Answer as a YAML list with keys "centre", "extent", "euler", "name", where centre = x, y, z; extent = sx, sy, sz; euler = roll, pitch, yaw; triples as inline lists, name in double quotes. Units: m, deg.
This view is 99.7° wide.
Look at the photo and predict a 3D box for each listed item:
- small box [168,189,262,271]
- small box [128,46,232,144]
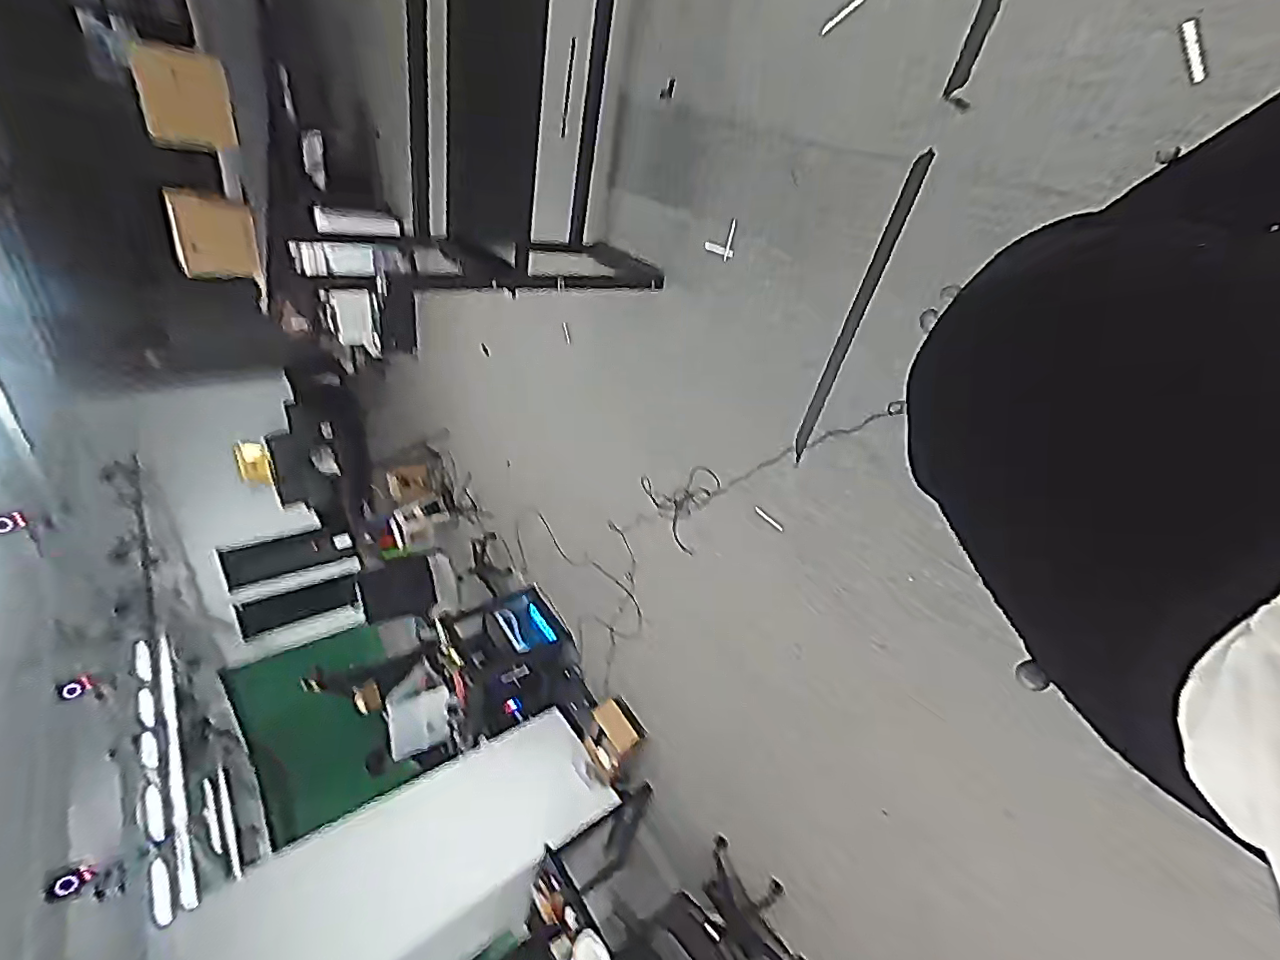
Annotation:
- centre: [-1.133, -0.666, 1.449]
  extent: [0.179, 0.176, 0.168]
  euler: [40, 132, 38]
  name: "small box"
- centre: [-1.218, -1.018, 1.437]
  extent: [0.168, 0.176, 0.179]
  euler: [43, 134, 35]
  name: "small box"
